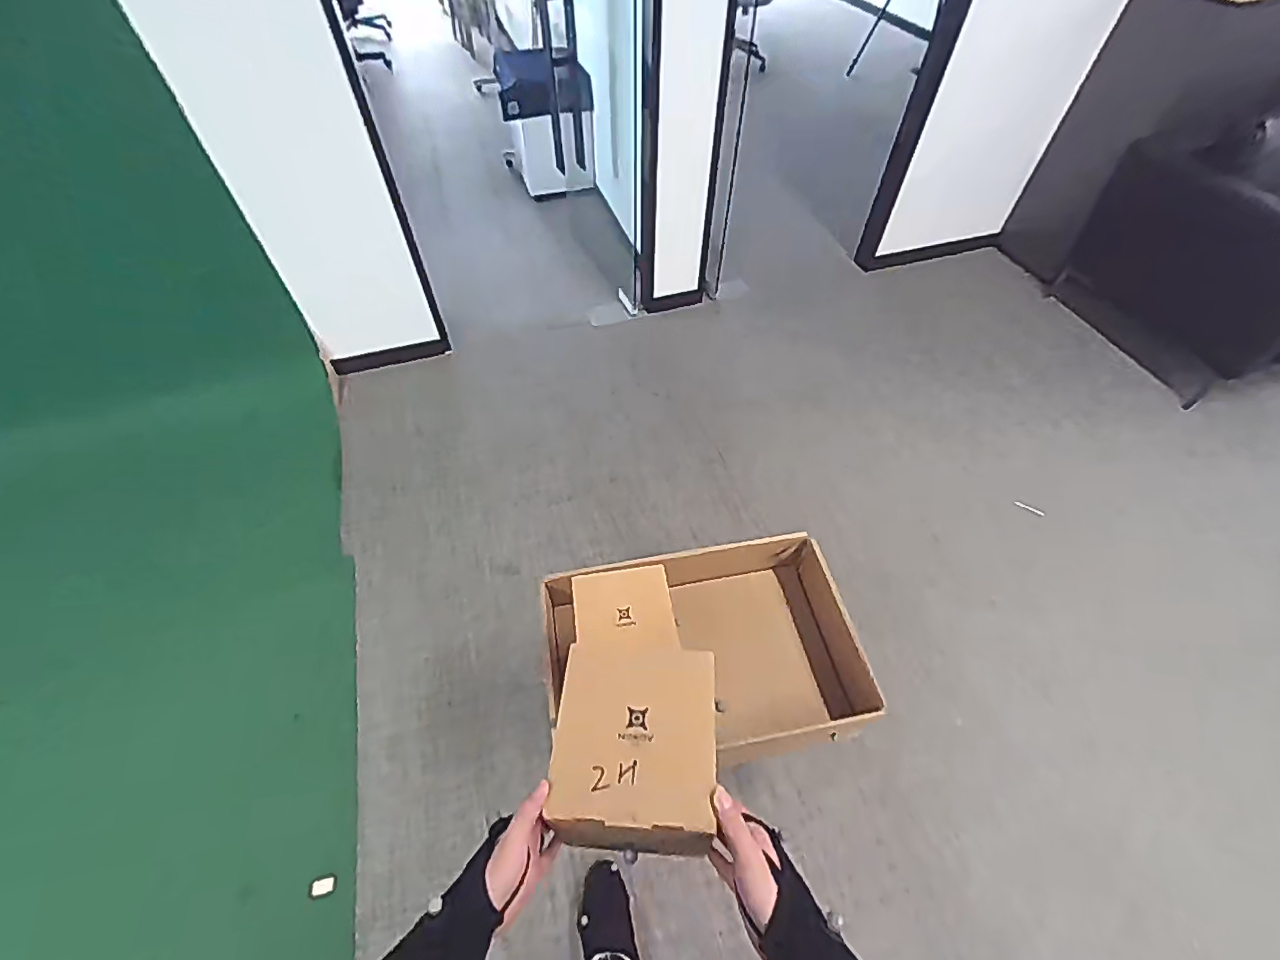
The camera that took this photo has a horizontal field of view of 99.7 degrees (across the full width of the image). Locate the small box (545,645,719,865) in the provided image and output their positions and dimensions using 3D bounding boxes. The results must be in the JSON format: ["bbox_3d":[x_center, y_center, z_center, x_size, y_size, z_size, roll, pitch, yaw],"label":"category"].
[{"bbox_3d":[0.000,0.311,0.613,0.168,0.176,0.179,2,47,4],"label":"small box"}]

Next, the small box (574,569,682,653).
[{"bbox_3d":[-0.026,0.280,0.953,0.168,0.176,0.179,-7,55,-7],"label":"small box"}]
